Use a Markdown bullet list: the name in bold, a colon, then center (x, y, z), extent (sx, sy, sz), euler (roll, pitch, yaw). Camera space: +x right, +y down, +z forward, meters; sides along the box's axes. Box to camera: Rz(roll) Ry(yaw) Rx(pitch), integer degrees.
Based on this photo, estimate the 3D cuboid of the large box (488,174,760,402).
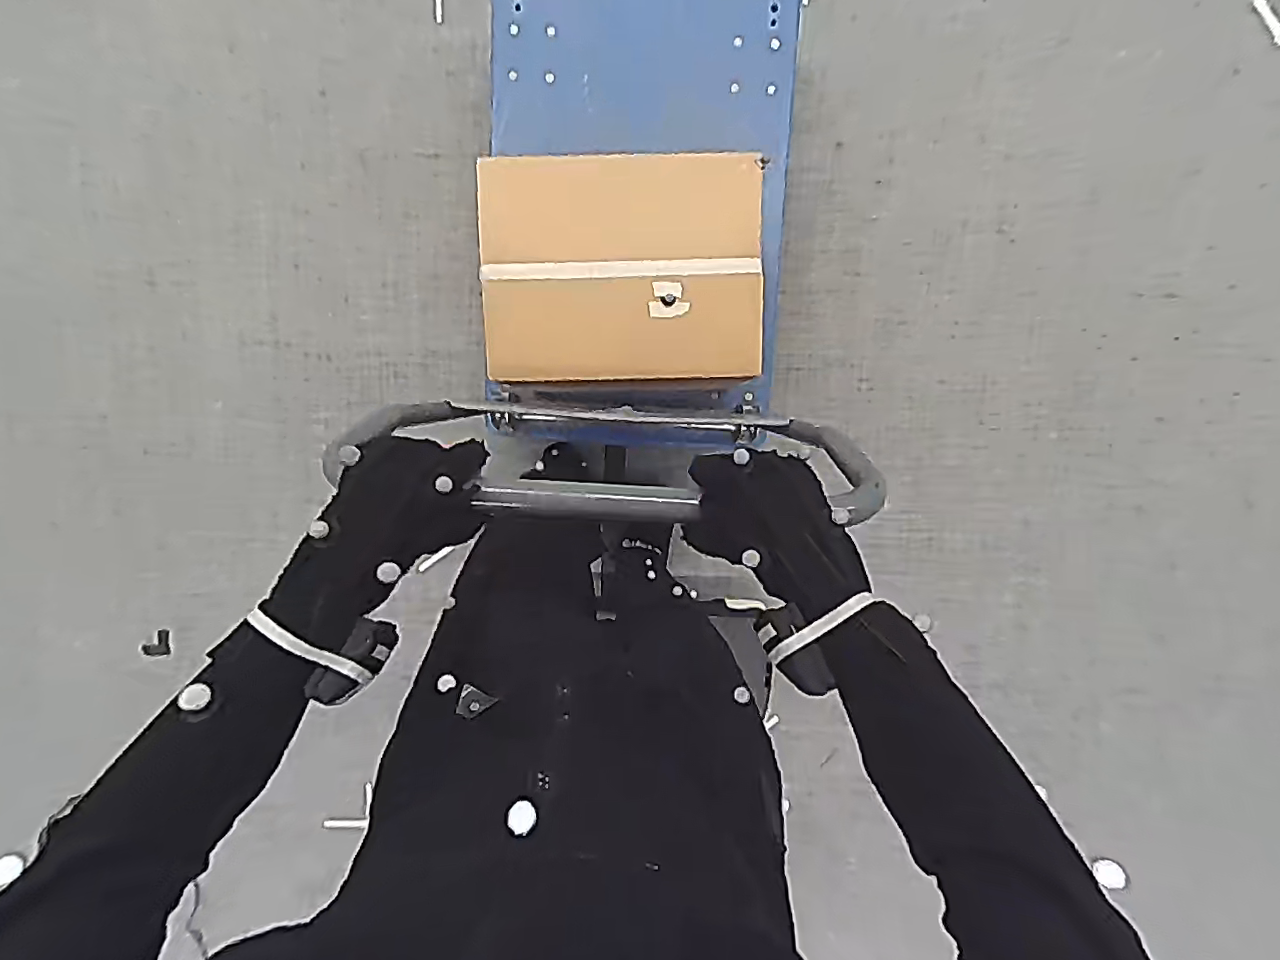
- **large box**: center (-0.024, -0.304, 0.950), extent (0.408, 0.320, 0.320), euler (-1, 97, -1)
